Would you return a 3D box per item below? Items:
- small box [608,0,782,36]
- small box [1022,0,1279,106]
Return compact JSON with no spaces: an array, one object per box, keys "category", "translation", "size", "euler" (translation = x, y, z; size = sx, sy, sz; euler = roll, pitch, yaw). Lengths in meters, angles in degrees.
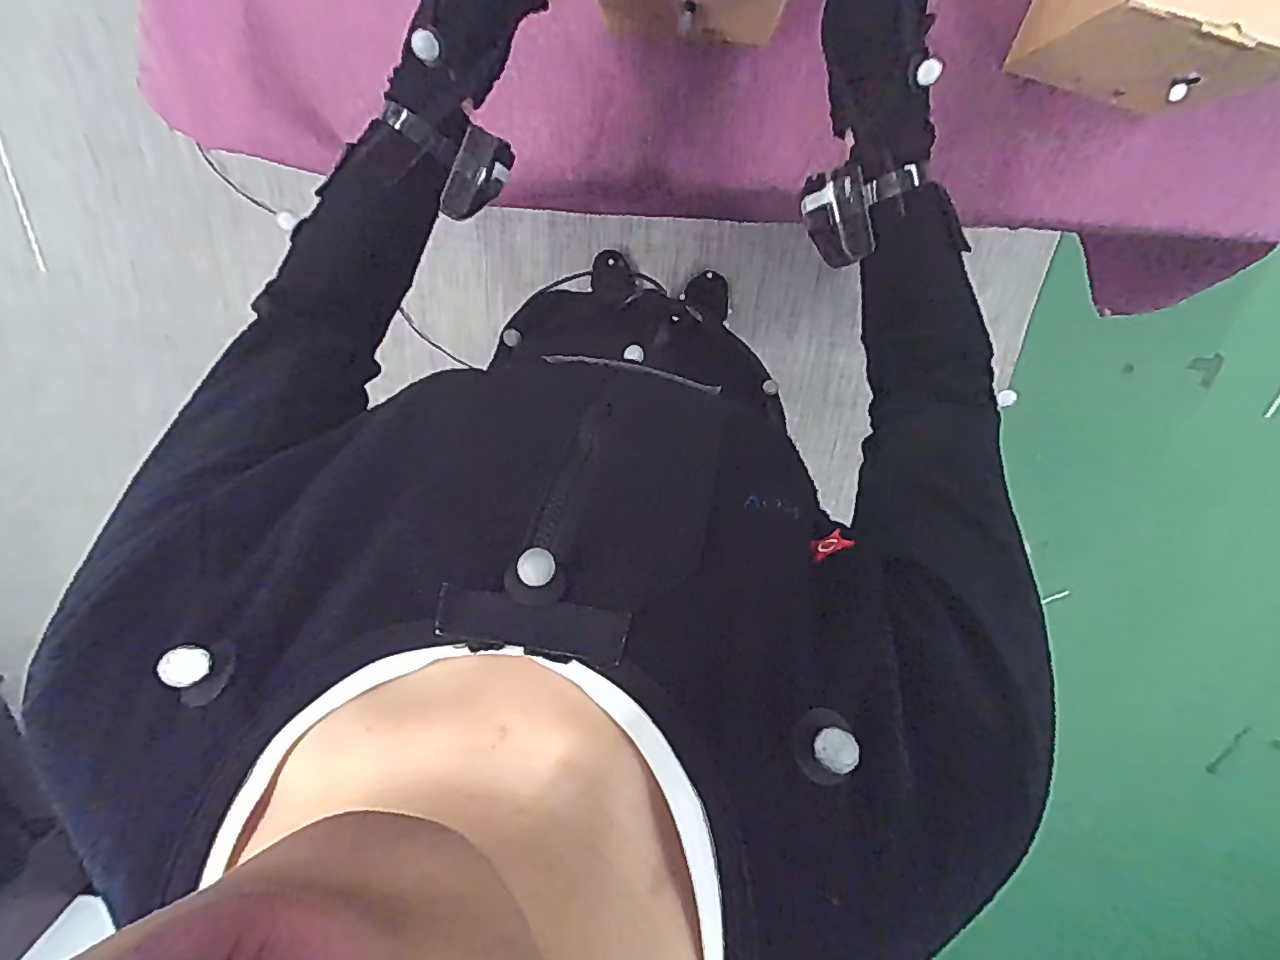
[{"category":"small box","translation":[0.052,-0.492,0.433],"size":[0.168,0.176,0.179],"euler":[7,114,1]},{"category":"small box","translation":[0.454,-0.430,0.429],"size":[0.168,0.176,0.179],"euler":[16,114,-3]}]
